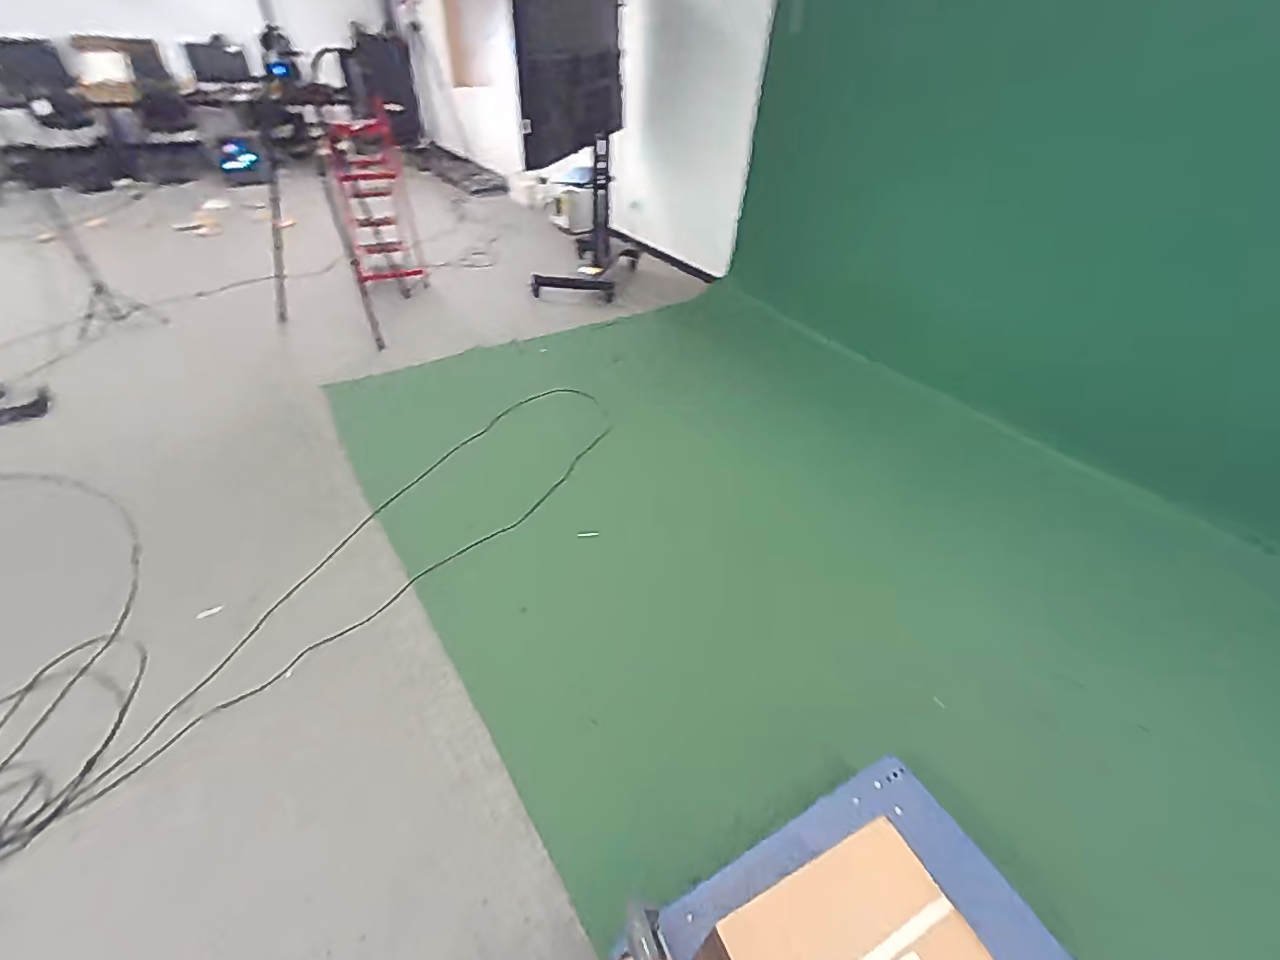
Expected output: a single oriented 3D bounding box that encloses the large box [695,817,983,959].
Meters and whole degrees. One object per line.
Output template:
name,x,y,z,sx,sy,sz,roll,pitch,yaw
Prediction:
large box,0.355,0.923,0.996,0.408,0.320,0.320,-14,44,-22
